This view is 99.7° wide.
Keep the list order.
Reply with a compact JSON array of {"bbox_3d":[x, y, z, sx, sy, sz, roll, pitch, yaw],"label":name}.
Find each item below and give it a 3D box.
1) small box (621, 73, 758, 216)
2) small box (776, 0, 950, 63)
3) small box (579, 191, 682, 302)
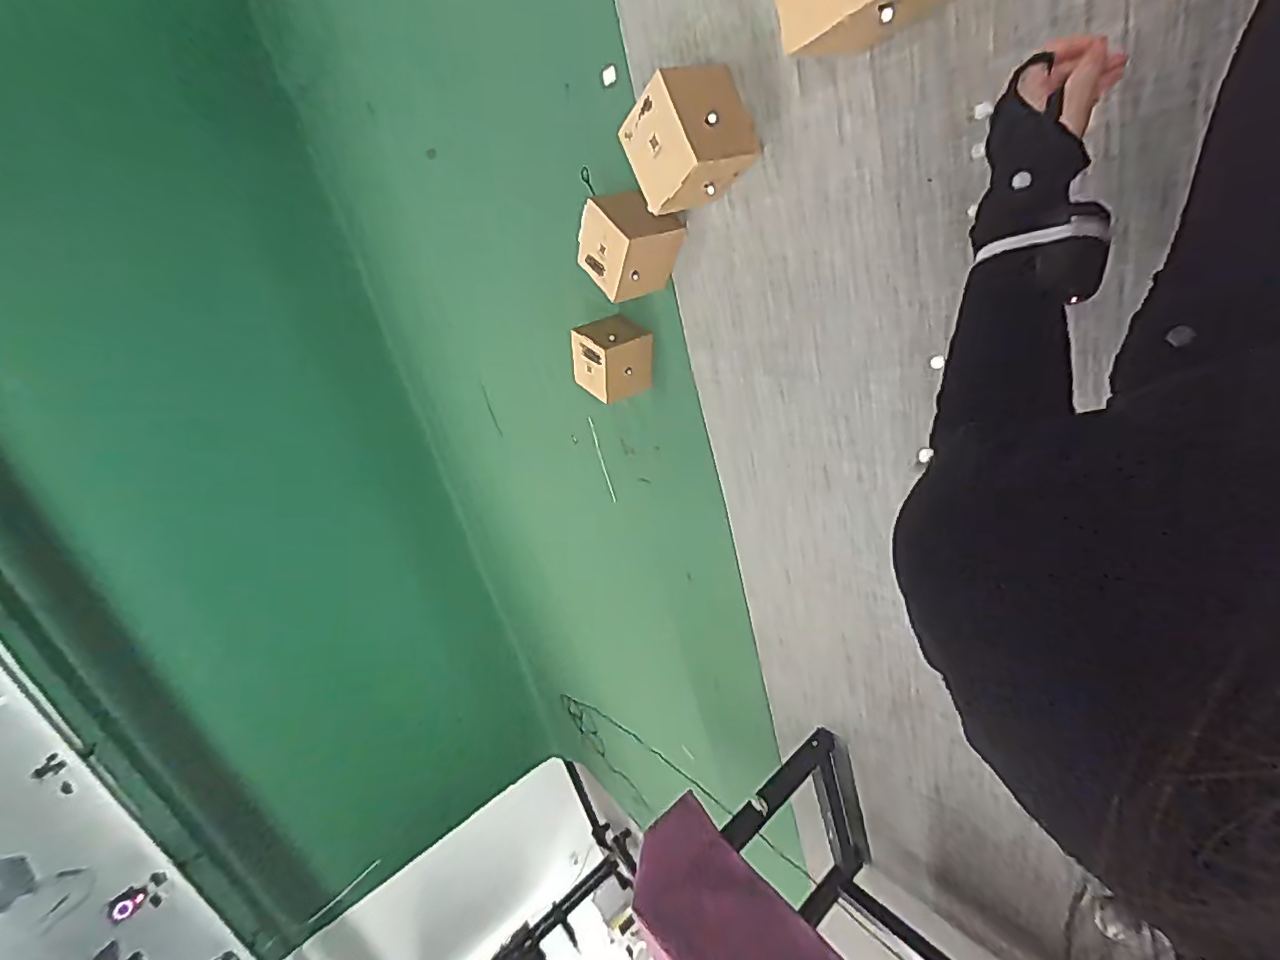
[{"bbox_3d":[0.098,-0.650,1.049,0.168,0.176,0.179,-15,101,61],"label":"small box"},{"bbox_3d":[0.296,-0.681,0.705,0.179,0.176,0.168,12,123,54],"label":"small box"},{"bbox_3d":[-0.024,-0.567,1.310,0.168,0.176,0.179,53,148,18],"label":"small box"}]
